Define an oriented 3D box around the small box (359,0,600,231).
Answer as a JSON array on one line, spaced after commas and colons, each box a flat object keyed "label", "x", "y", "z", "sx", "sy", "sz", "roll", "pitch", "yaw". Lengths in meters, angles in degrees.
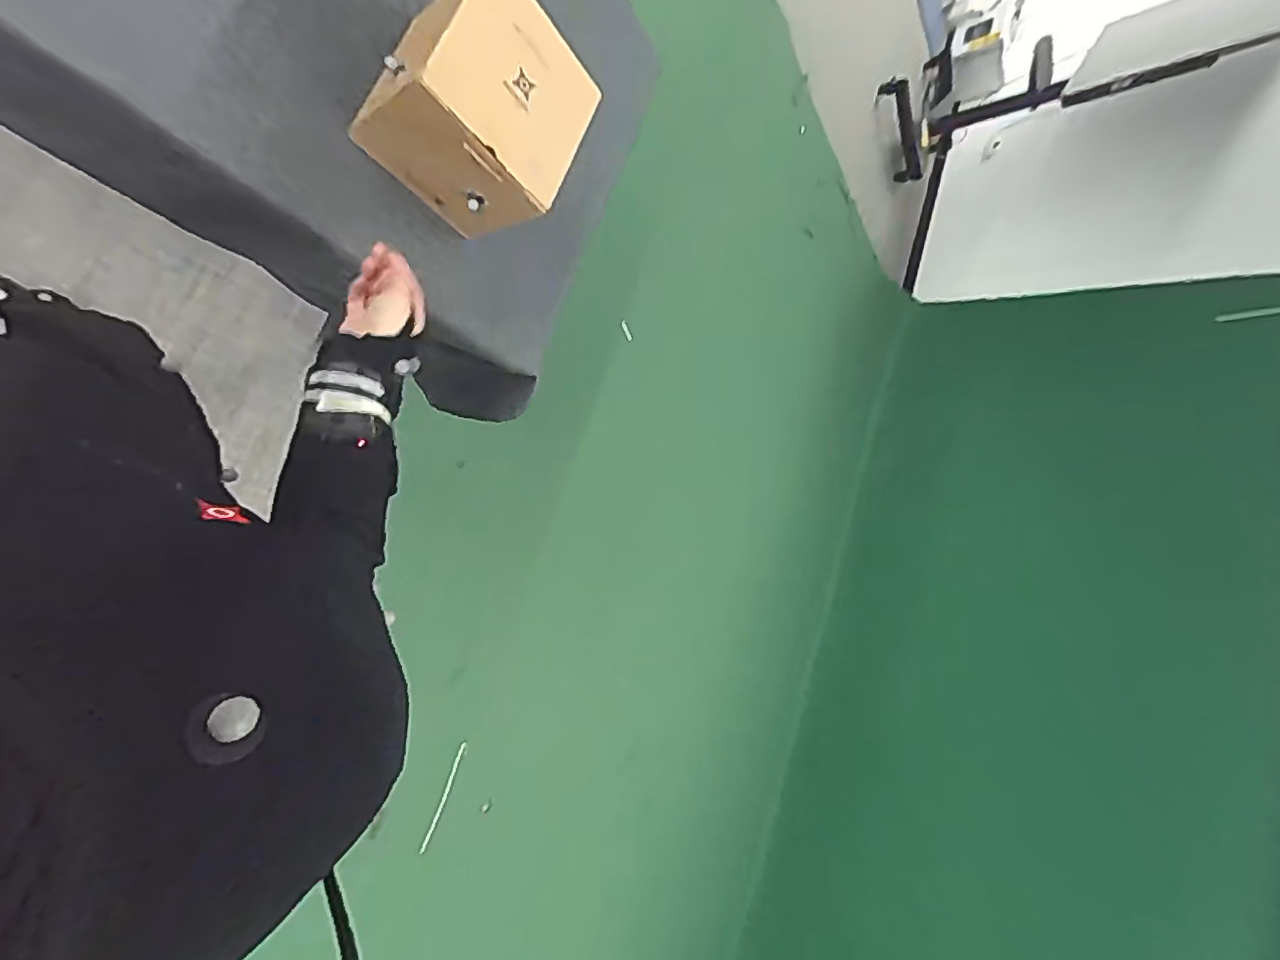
[{"label": "small box", "x": -0.180, "y": -0.411, "z": 0.603, "sx": 0.168, "sy": 0.176, "sz": 0.179, "roll": 34, "pitch": 70, "yaw": -48}]
